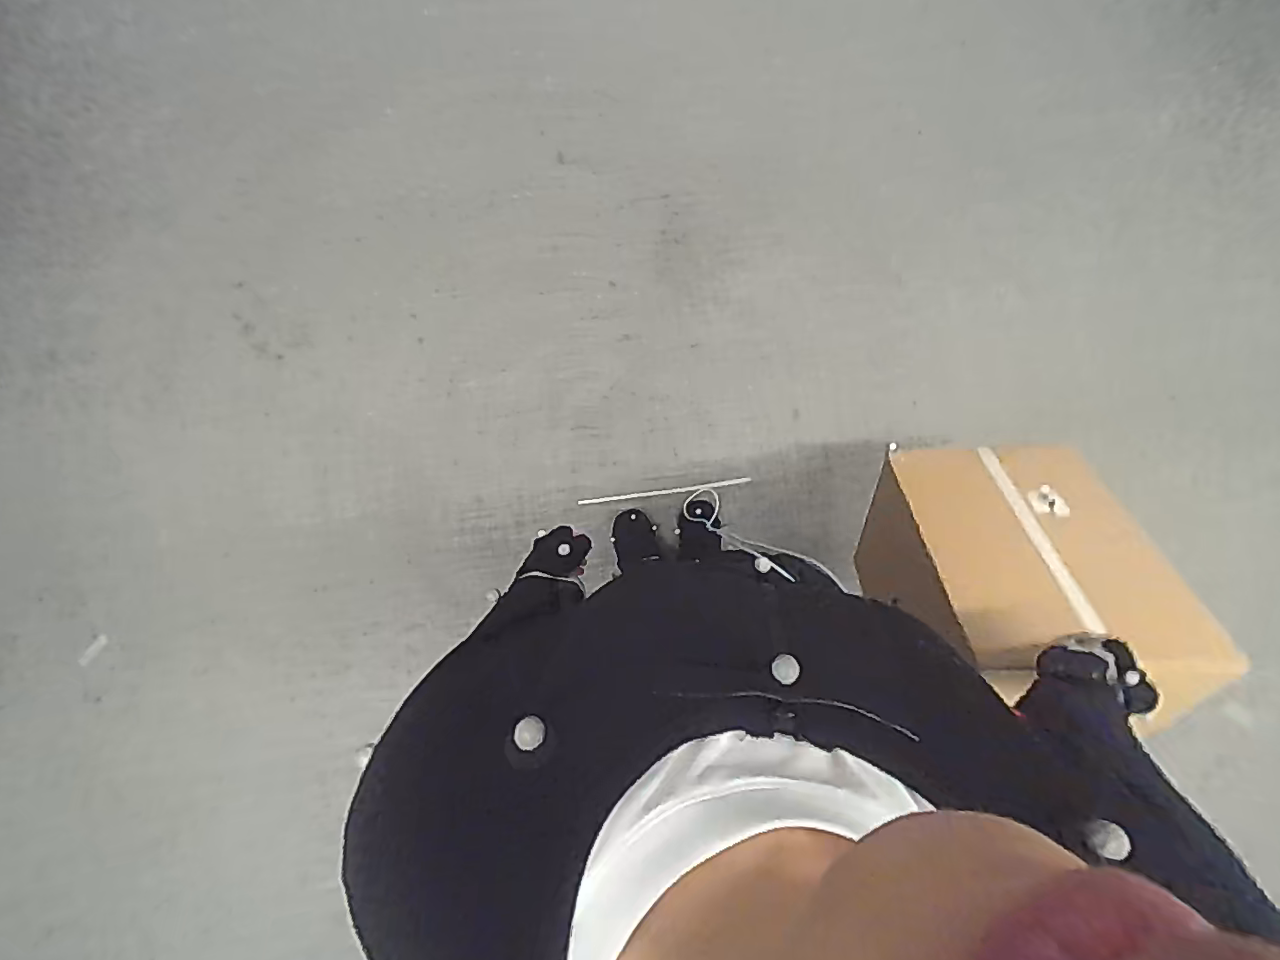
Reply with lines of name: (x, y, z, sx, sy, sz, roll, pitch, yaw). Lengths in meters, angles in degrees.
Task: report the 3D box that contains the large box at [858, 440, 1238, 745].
large box: (0.596, 0.183, 0.908, 0.320, 0.320, 0.408, -1, 45, 5)
